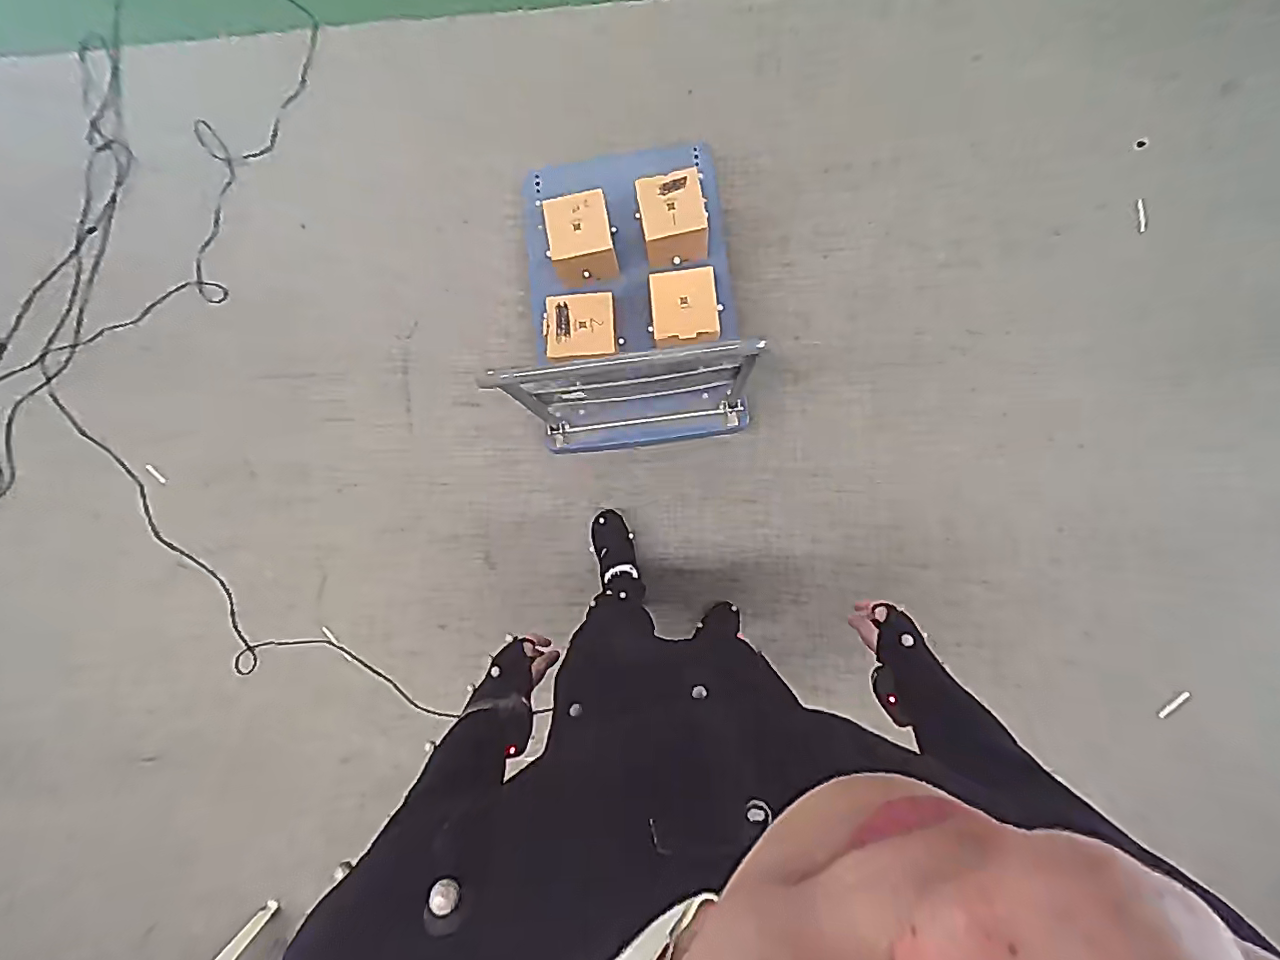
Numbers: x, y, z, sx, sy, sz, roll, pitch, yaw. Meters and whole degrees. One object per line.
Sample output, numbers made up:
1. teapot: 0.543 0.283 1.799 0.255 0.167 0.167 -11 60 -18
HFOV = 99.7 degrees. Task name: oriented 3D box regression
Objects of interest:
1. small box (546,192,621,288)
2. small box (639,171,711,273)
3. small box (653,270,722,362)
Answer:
1. small box: -0.151 -0.653 1.498 0.168 0.176 0.179 -10 82 3
2. small box: 0.096 -0.699 1.480 0.168 0.176 0.179 -10 83 5
3. small box: 0.125 -0.432 1.447 0.168 0.176 0.179 -6 83 4
